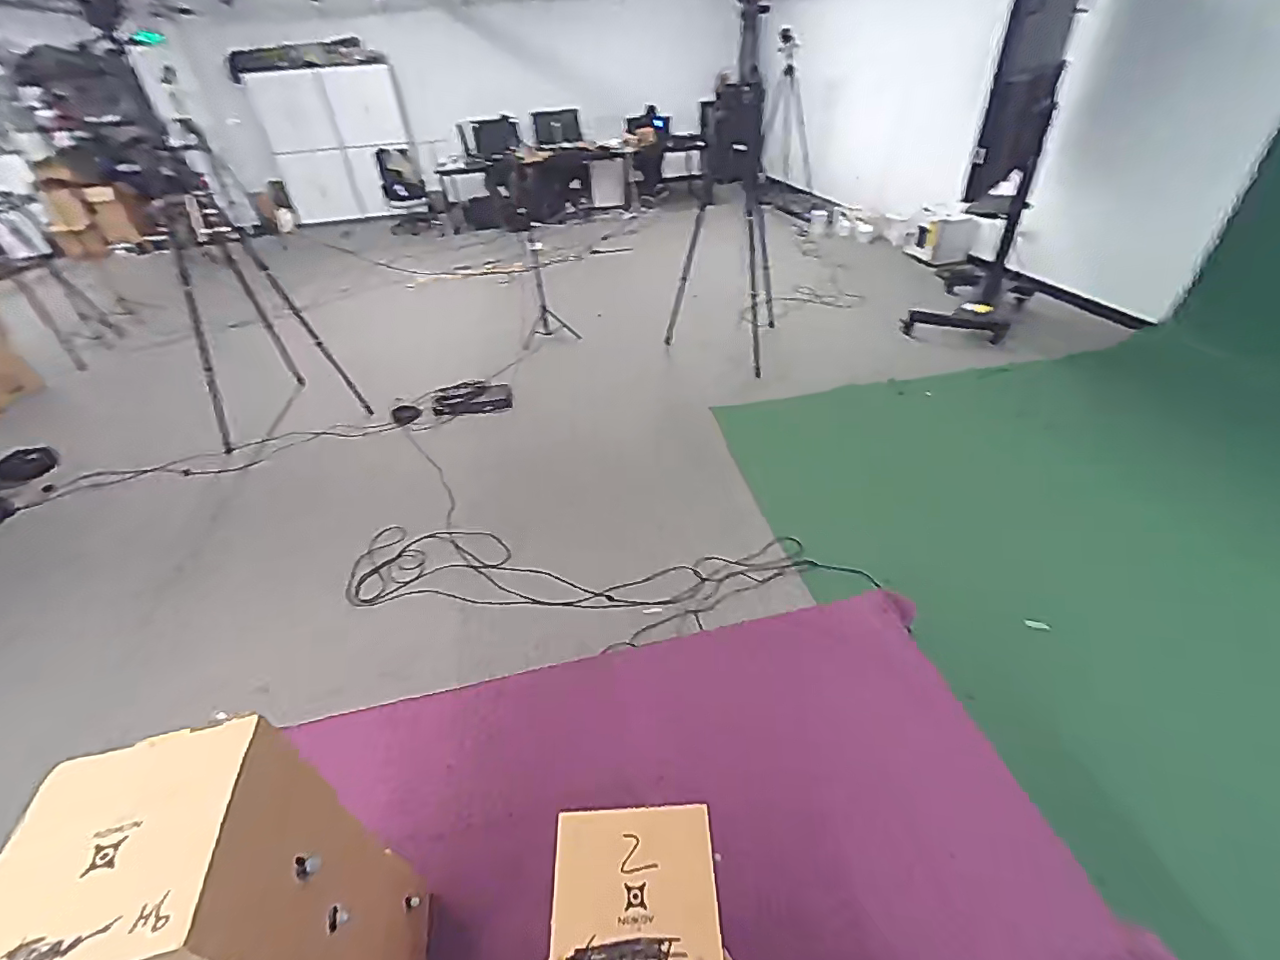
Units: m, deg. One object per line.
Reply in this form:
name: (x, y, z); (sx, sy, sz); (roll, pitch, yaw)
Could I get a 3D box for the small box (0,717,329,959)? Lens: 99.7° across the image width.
small box: (-0.395, 0.345, 0.462); (0.168, 0.176, 0.179); (-13, 37, -8)

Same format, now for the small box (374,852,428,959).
small box: (-0.370, 0.603, 0.661); (0.168, 0.176, 0.179); (-12, 39, -8)

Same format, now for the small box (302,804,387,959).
small box: (-0.380, 0.479, 0.555); (0.168, 0.176, 0.179); (-12, 37, -8)
